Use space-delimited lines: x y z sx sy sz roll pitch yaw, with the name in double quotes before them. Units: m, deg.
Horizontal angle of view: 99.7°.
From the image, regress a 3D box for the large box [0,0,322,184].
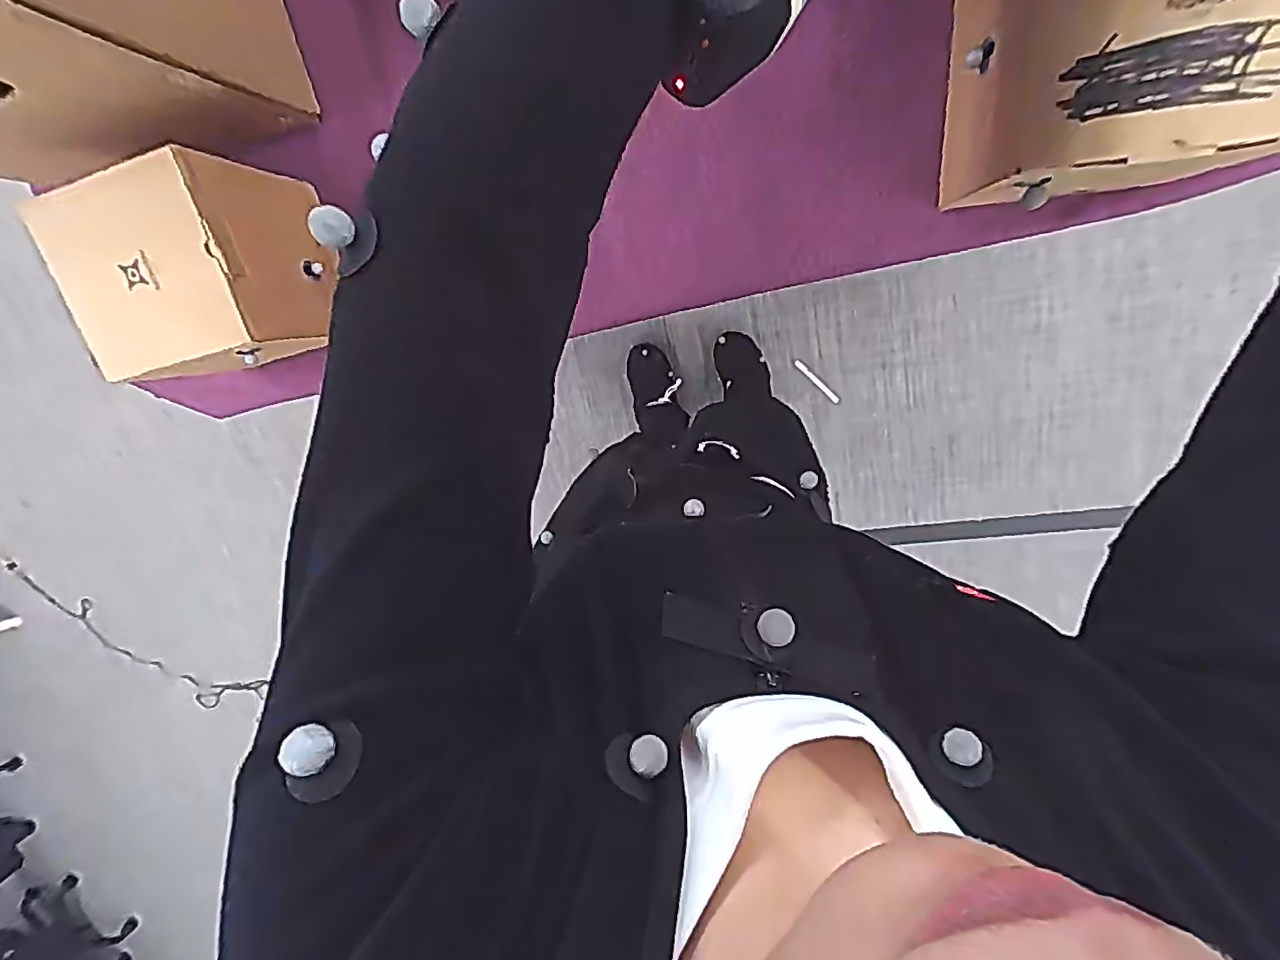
"large box" -0.546 -0.500 0.412 0.320 0.320 0.408 -9 110 13
